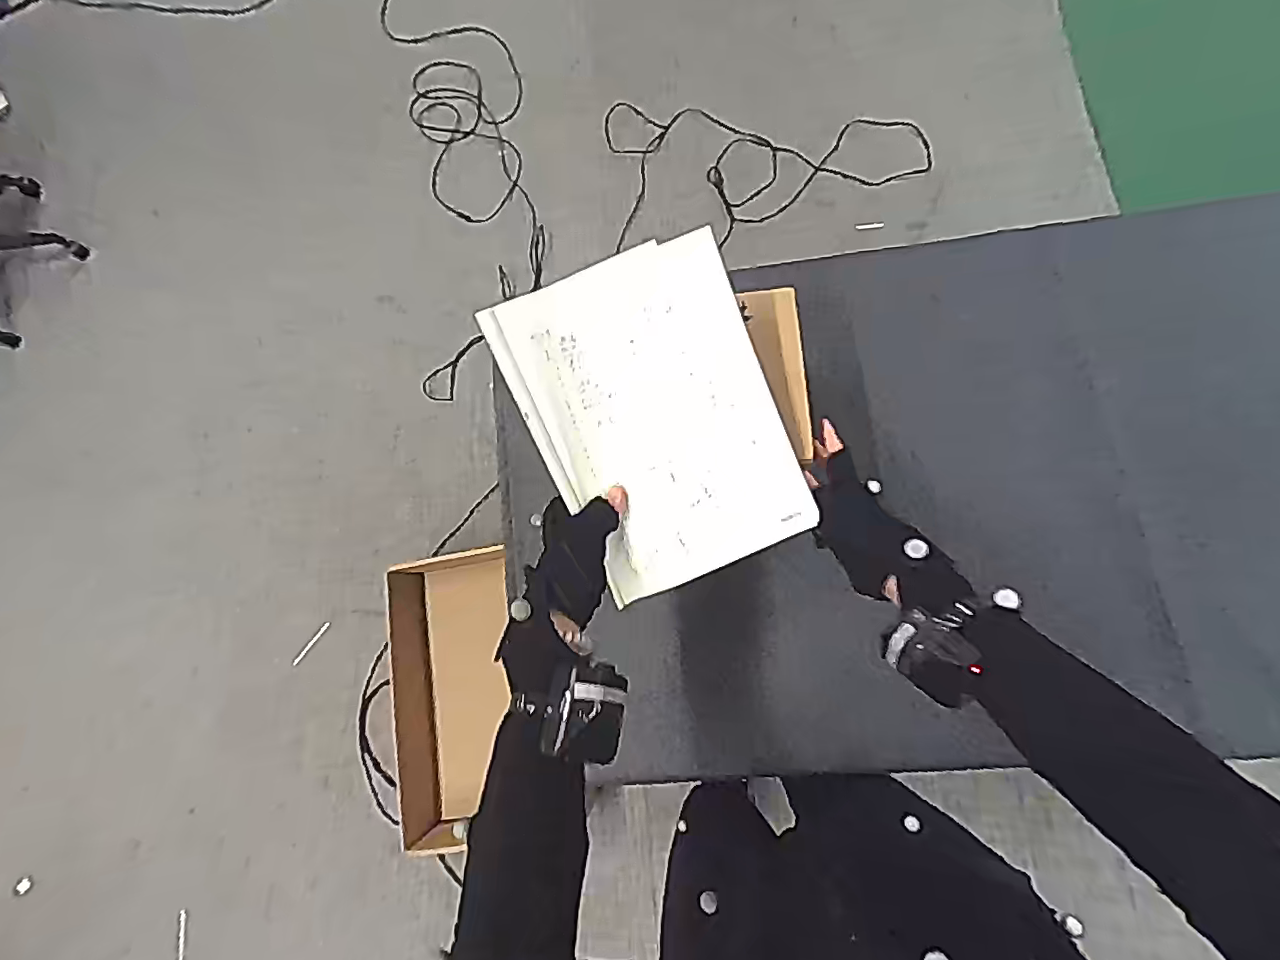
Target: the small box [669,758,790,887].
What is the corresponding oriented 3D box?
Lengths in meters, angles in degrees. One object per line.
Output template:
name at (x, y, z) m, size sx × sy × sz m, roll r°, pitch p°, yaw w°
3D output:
small box at (0.185, 0.723, 1.158) m, size 0.179 × 0.176 × 0.168 m, roll 29°, pitch 84°, yaw 43°
